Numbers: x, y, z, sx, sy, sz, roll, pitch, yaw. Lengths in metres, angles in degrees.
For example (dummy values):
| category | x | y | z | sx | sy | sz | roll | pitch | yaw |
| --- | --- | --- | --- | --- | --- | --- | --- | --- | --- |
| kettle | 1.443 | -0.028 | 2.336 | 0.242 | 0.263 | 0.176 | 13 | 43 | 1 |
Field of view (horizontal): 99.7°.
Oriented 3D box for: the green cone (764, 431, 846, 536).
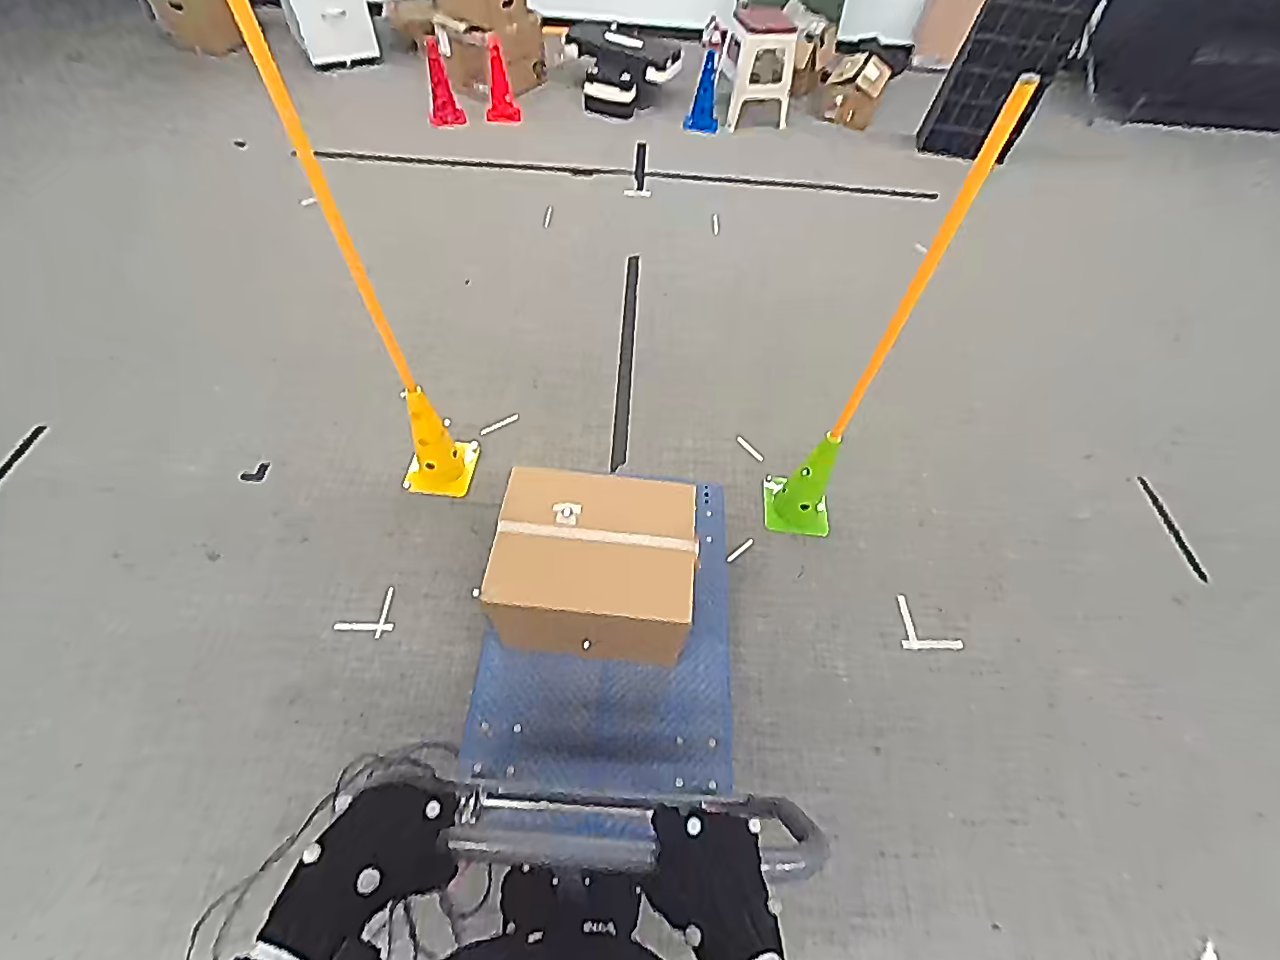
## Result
| category | x | y | z | sx | sy | sz | roll | pitch | yaw |
| --- | --- | --- | --- | --- | --- | --- | --- | --- | --- |
| green cone | 0.512 | -0.013 | 1.593 | 0.202 | 0.368 | 0.200 | 7 | 56 | -1 |

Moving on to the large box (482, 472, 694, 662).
| category | x | y | z | sx | sy | sz | roll | pitch | yaw |
| --- | --- | --- | --- | --- | --- | --- | --- | --- | --- |
| large box | -0.096 | 0.207 | 1.224 | 0.408 | 0.320 | 0.320 | 6 | 56 | 1 |
